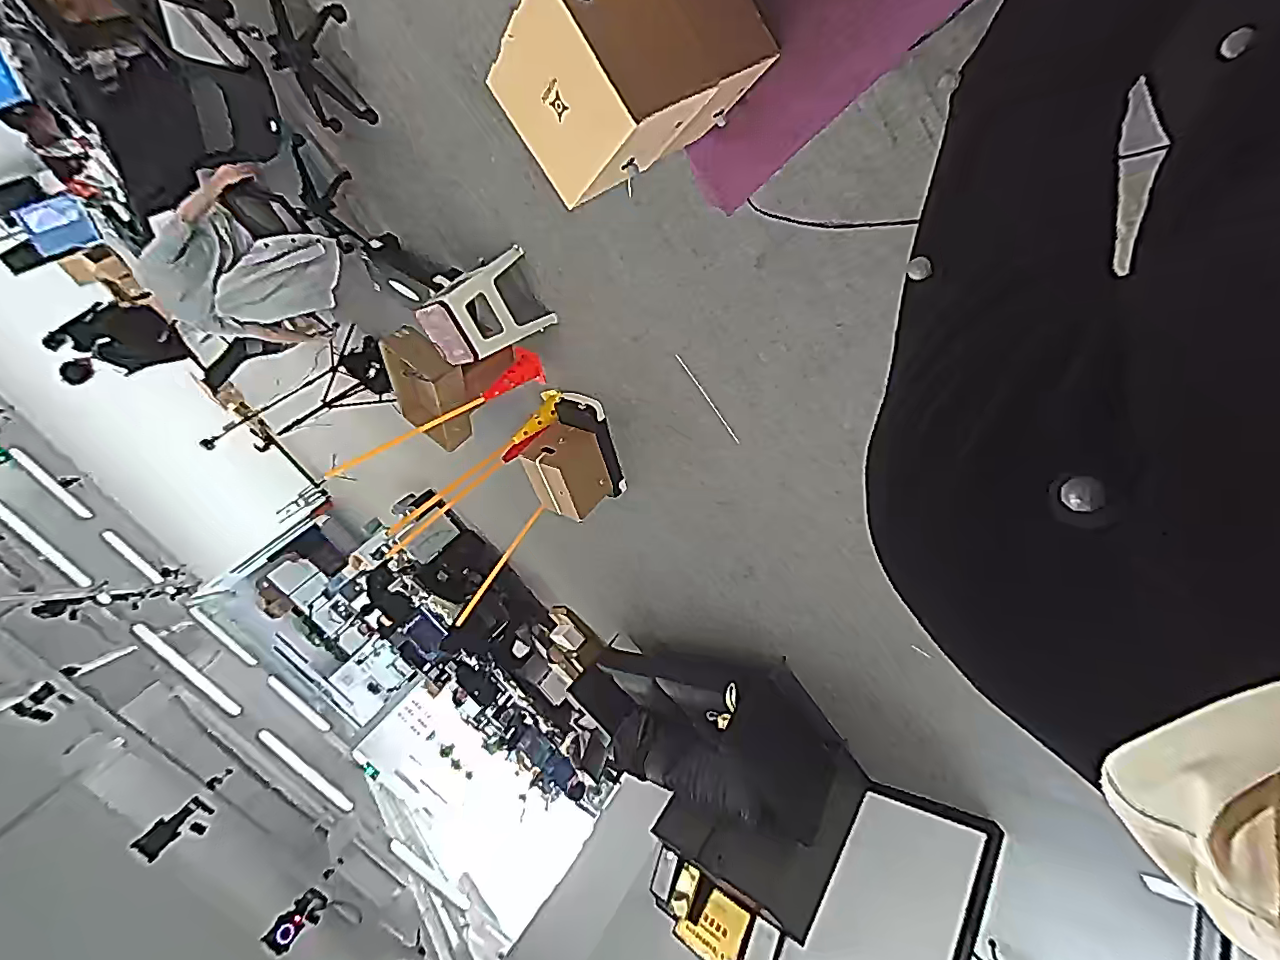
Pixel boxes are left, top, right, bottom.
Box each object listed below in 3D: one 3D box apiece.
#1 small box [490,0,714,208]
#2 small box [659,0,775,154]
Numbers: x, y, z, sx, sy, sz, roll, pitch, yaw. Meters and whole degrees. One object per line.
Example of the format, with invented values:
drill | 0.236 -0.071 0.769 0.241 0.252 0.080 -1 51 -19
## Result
small box | -0.042 -0.479 0.657 0.179 0.176 0.168 55 149 -14
small box | 0.049 -0.584 0.740 0.179 0.176 0.168 53 149 -14
